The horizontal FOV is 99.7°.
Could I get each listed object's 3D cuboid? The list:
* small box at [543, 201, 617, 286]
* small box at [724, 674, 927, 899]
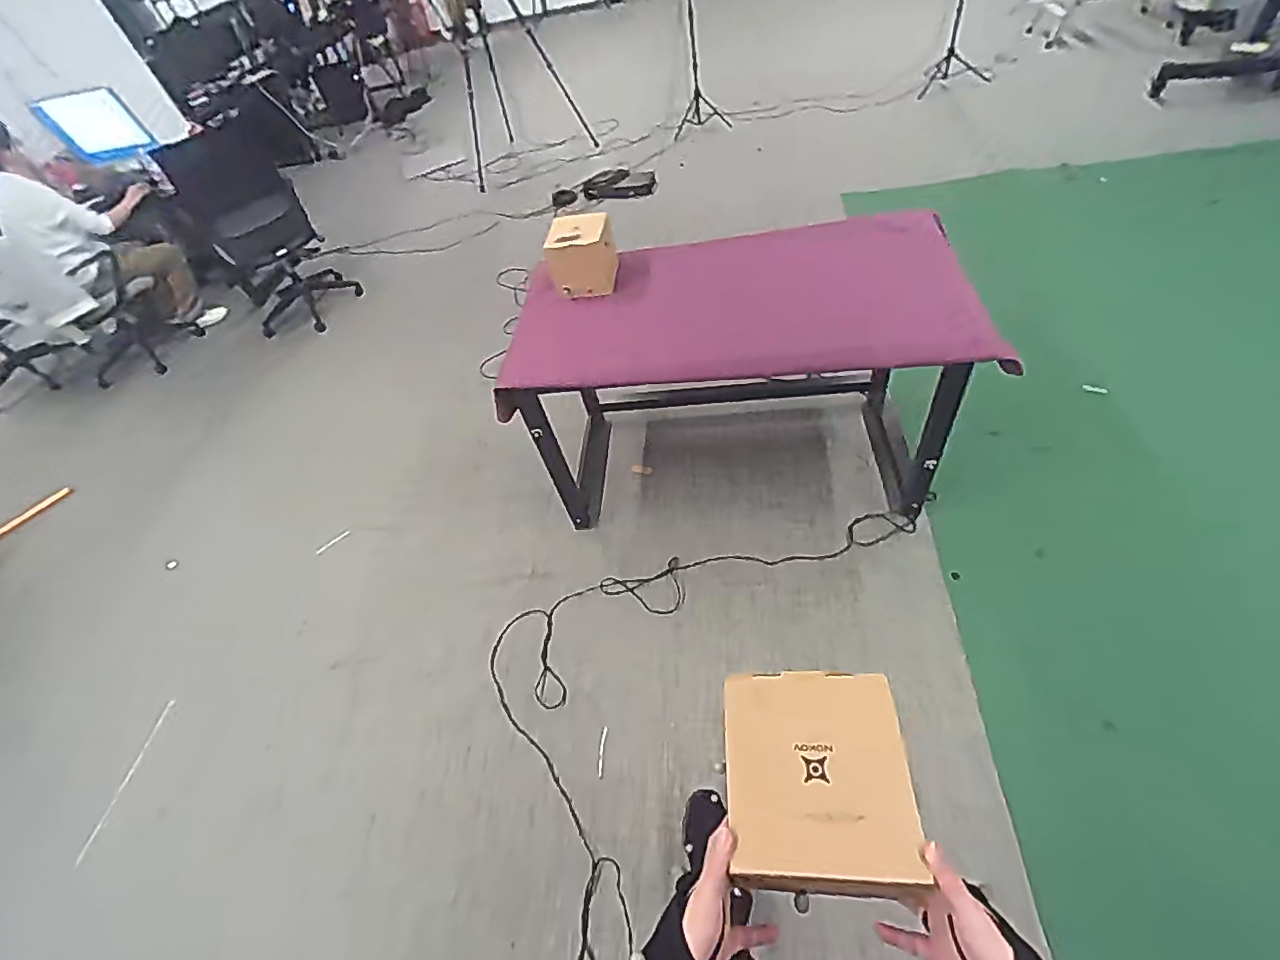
[{"bbox_3d":[-0.168,-0.685,1.584,0.168,0.176,0.179,0,53,10],"label":"small box"},{"bbox_3d":[0.173,0.321,0.568,0.168,0.176,0.179,-3,51,10],"label":"small box"}]
